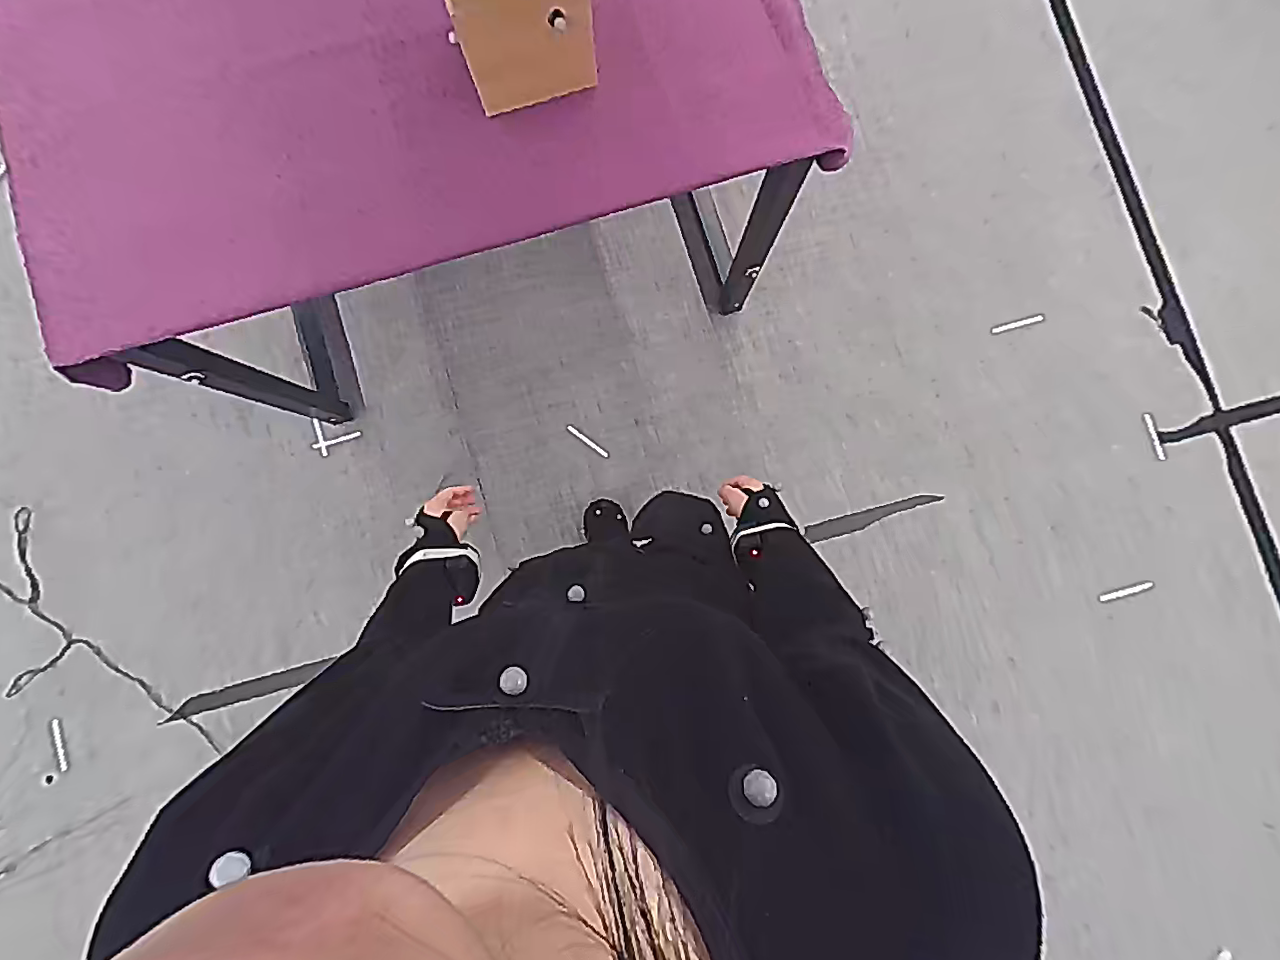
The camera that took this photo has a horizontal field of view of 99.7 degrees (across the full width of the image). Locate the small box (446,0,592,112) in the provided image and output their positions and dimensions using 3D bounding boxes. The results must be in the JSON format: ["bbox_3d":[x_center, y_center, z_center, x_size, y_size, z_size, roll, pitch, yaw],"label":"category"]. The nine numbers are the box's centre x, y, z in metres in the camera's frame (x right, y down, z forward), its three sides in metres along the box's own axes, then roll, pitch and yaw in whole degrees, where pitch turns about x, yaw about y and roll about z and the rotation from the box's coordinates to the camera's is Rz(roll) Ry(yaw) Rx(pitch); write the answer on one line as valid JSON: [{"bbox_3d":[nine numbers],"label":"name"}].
[{"bbox_3d":[-0.169,-0.652,0.736,0.179,0.176,0.168,-18,86,-1],"label":"small box"}]
